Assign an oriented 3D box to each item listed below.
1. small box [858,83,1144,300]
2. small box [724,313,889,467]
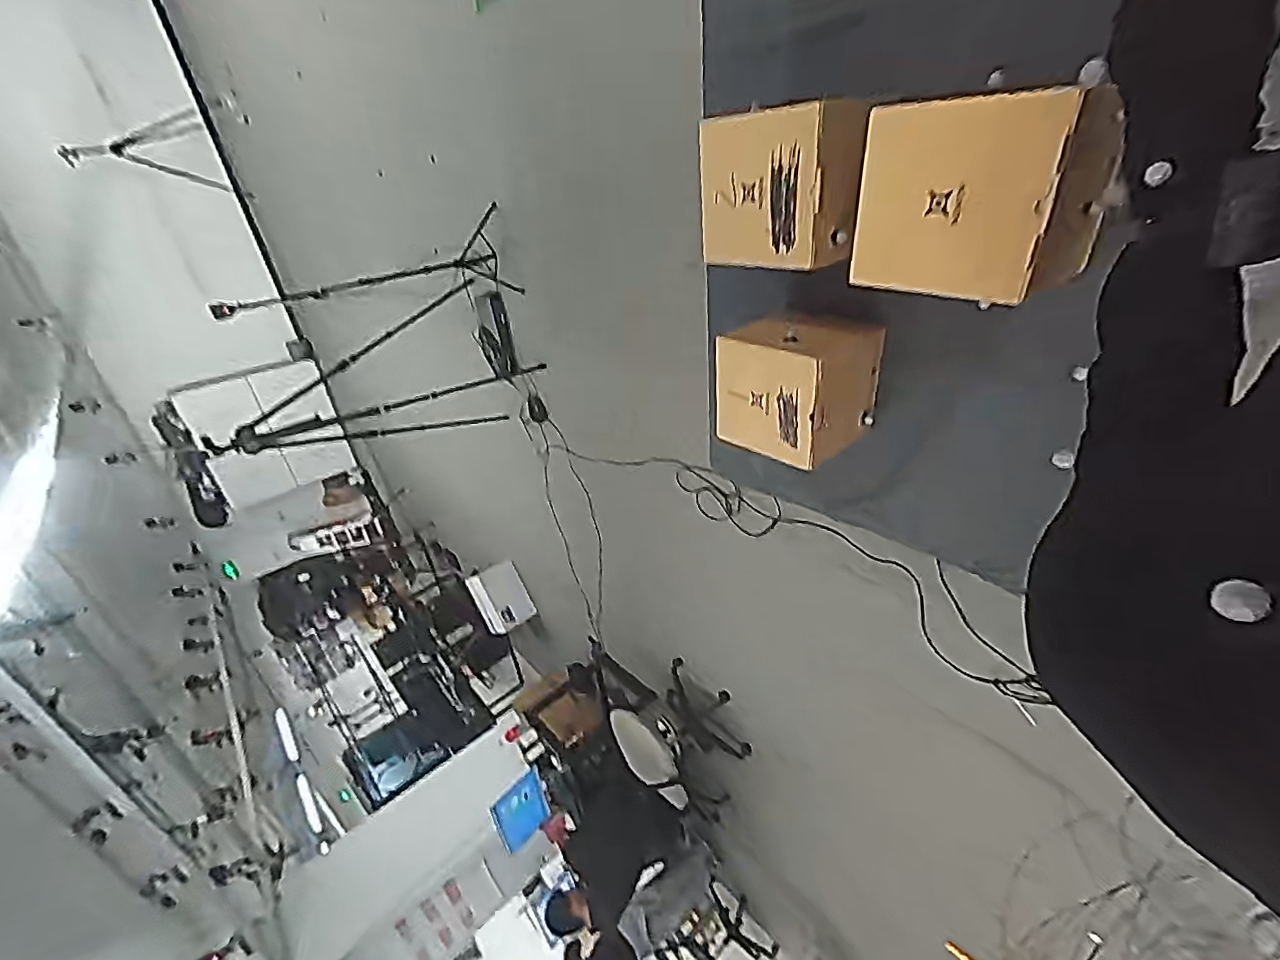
[{"bbox_3d":[0.359,-0.295,0.556,0.179,0.176,0.168,29,134,43],"label":"small box"},{"bbox_3d":[0.248,-0.146,0.819,0.179,0.176,0.168,28,134,43],"label":"small box"}]
